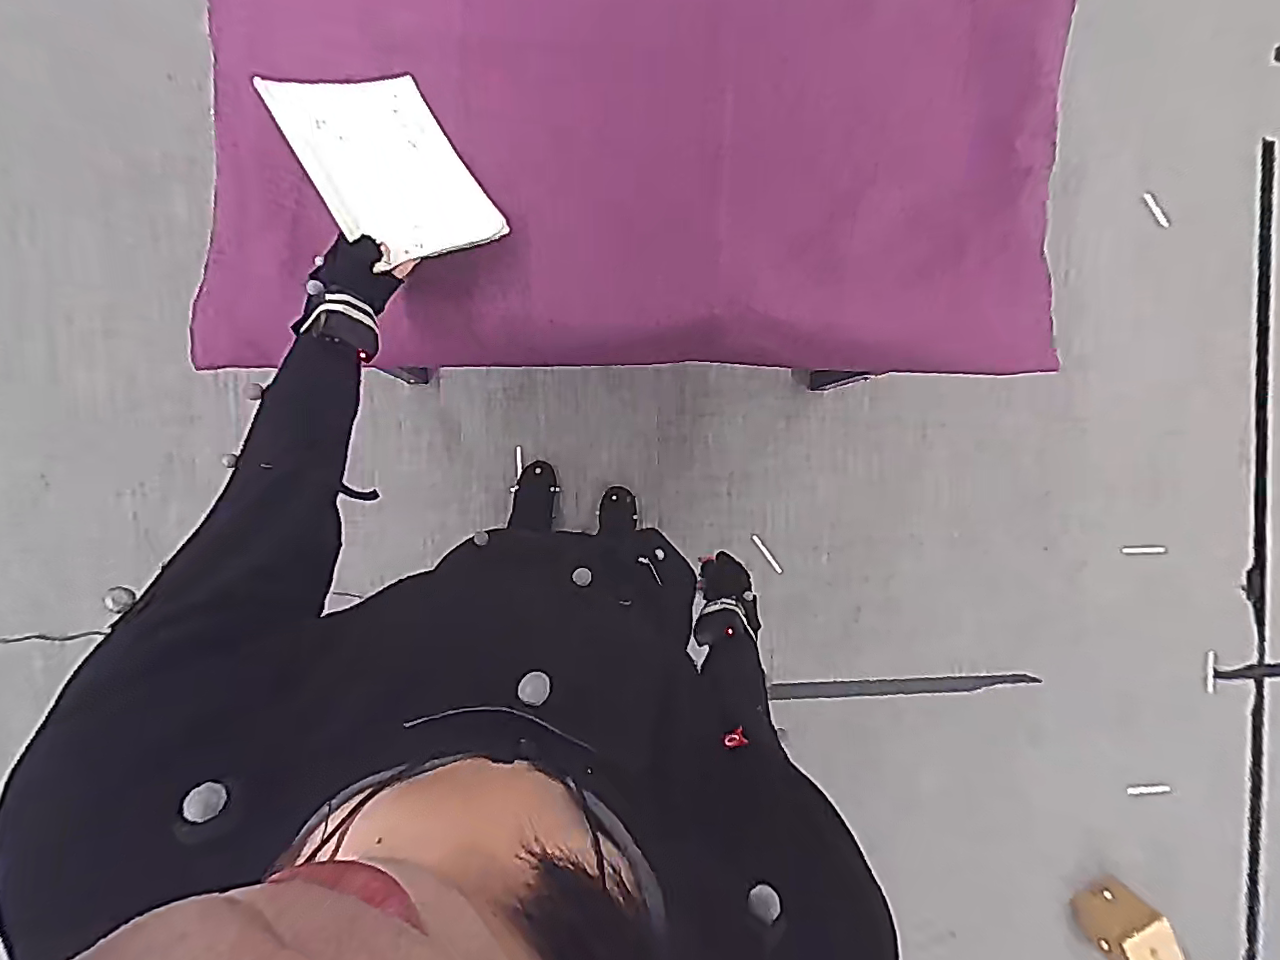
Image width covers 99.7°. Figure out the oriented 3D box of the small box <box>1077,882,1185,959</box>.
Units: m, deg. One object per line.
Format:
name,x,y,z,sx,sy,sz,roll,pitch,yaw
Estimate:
small box,1.528,1.421,1.686,0.168,0.176,0.179,-23,93,-6
